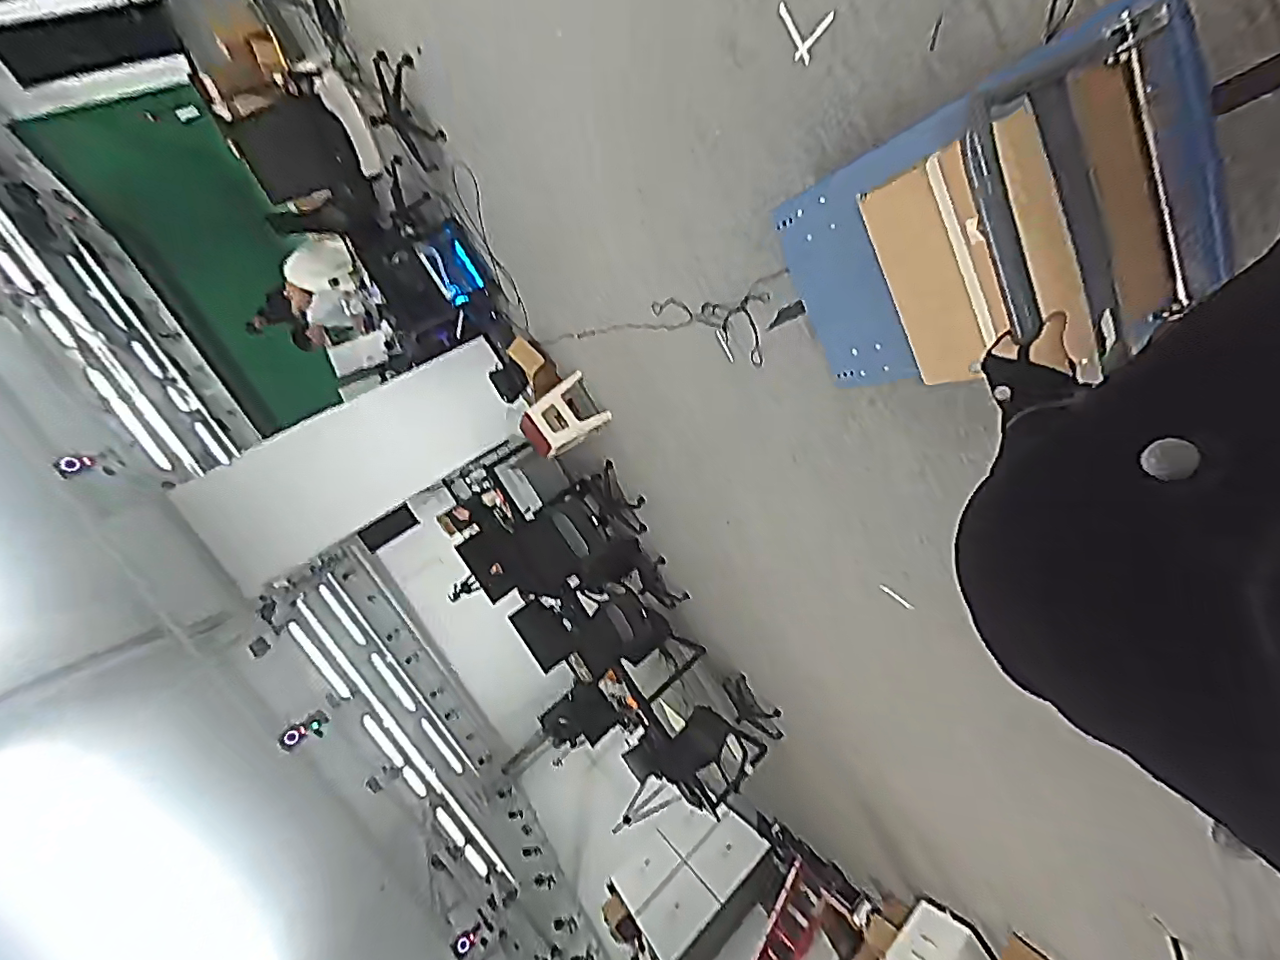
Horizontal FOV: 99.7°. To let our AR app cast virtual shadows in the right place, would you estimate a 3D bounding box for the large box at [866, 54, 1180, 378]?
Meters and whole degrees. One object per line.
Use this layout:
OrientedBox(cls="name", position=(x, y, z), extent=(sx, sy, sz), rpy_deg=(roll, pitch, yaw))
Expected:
OrientedBox(cls="large box", position=(0.707, -0.457, 1.005), extent=(0.320, 0.320, 0.408), rpy_deg=(-1, 121, 61))
